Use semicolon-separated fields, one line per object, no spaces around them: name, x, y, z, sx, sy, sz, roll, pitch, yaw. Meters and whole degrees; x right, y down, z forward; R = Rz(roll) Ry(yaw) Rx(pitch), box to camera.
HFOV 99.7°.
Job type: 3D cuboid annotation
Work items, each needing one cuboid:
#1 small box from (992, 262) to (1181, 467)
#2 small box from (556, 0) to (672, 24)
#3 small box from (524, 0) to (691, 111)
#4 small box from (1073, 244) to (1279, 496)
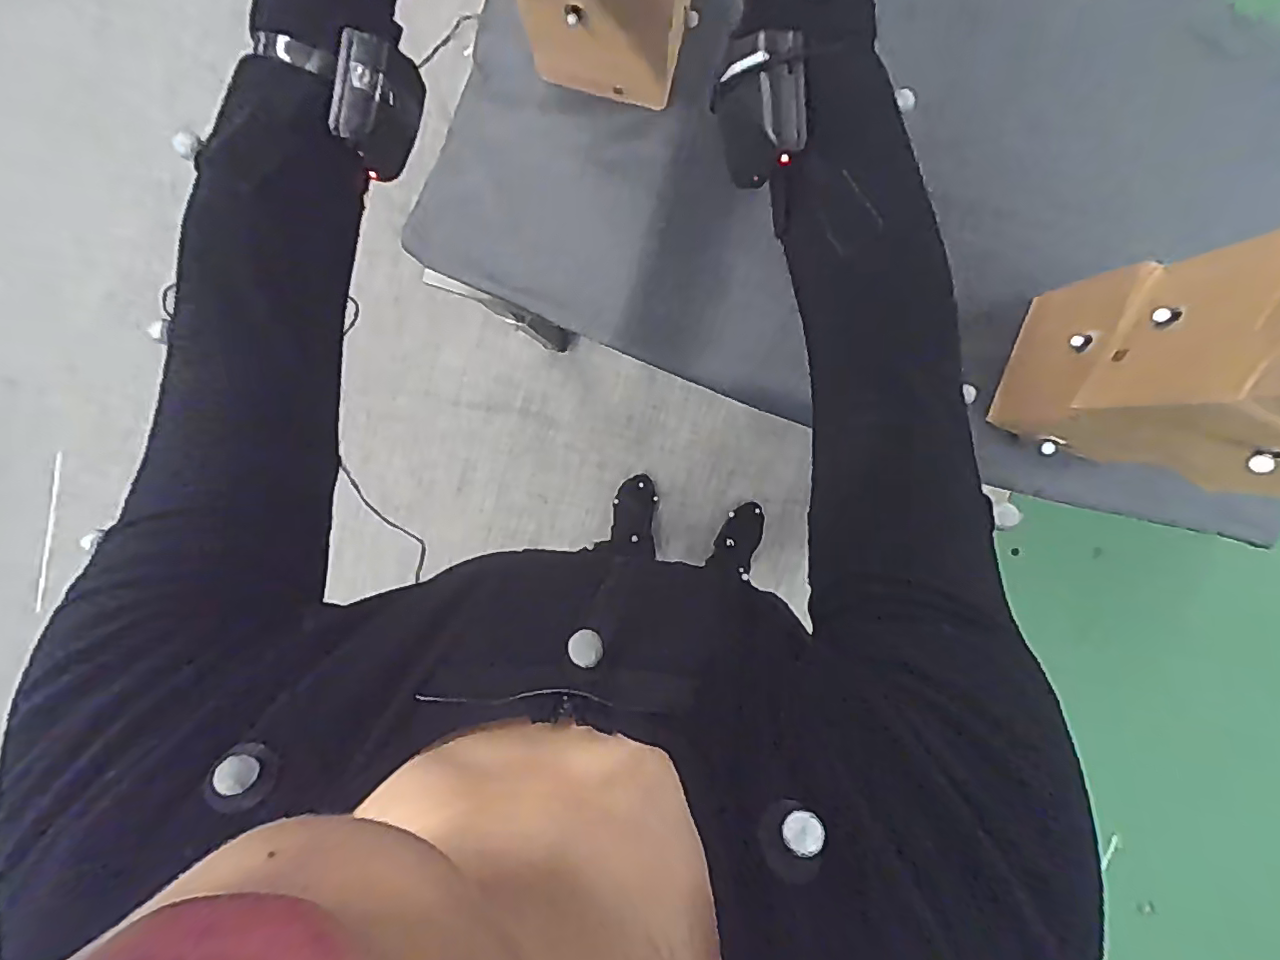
small box;0.562;-0.123;0.636;0.168;0.176;0.179;18;96;0
small box;-0.034;-0.523;0.435;0.179;0.176;0.168;15;98;0
small box;-0.028;-0.559;0.597;0.168;0.176;0.179;14;97;-1
small box;0.555;-0.093;0.476;0.179;0.176;0.168;29;95;-1
